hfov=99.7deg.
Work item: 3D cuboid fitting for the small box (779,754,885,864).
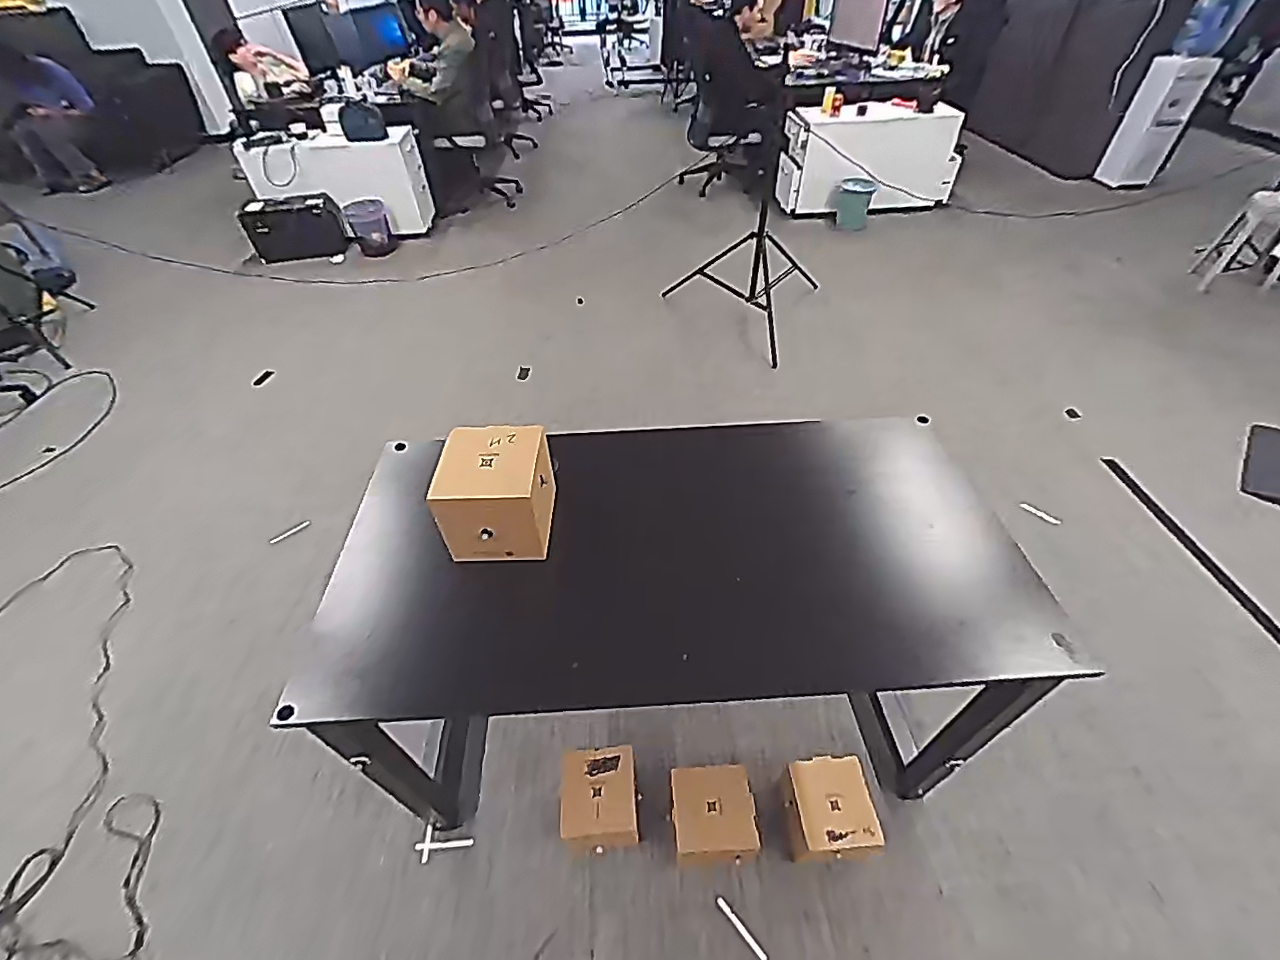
[{"bbox_3d":[0.427,0.754,1.239,0.168,0.176,0.179,-5,45,-1],"label":"small box"}]

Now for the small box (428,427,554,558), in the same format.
[{"bbox_3d":[-0.252,0.026,0.962,0.168,0.176,0.179,-1,45,1],"label":"small box"}]

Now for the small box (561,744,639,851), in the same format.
[{"bbox_3d":[-0.090,0.746,1.270,0.168,0.176,0.179,-4,46,-1],"label":"small box"}]

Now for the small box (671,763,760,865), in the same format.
[{"bbox_3d":[0.165,0.768,1.240,0.179,0.176,0.168,-4,45,0],"label":"small box"}]
